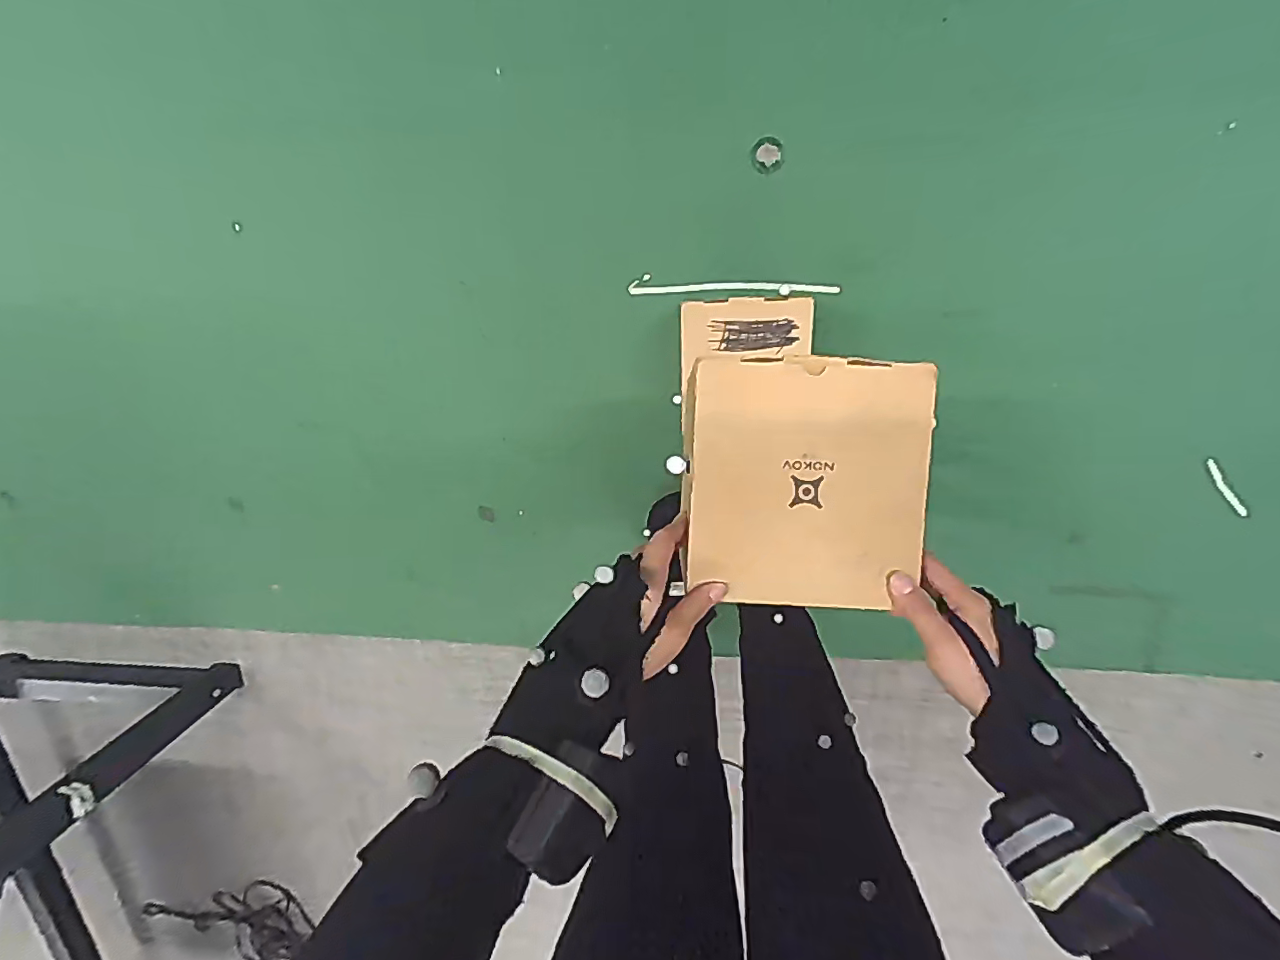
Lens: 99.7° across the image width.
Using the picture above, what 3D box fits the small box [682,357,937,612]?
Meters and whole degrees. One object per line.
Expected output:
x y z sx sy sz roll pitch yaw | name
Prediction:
0.122 -0.003 0.459 0.168 0.176 0.179 2 94 3 | small box
